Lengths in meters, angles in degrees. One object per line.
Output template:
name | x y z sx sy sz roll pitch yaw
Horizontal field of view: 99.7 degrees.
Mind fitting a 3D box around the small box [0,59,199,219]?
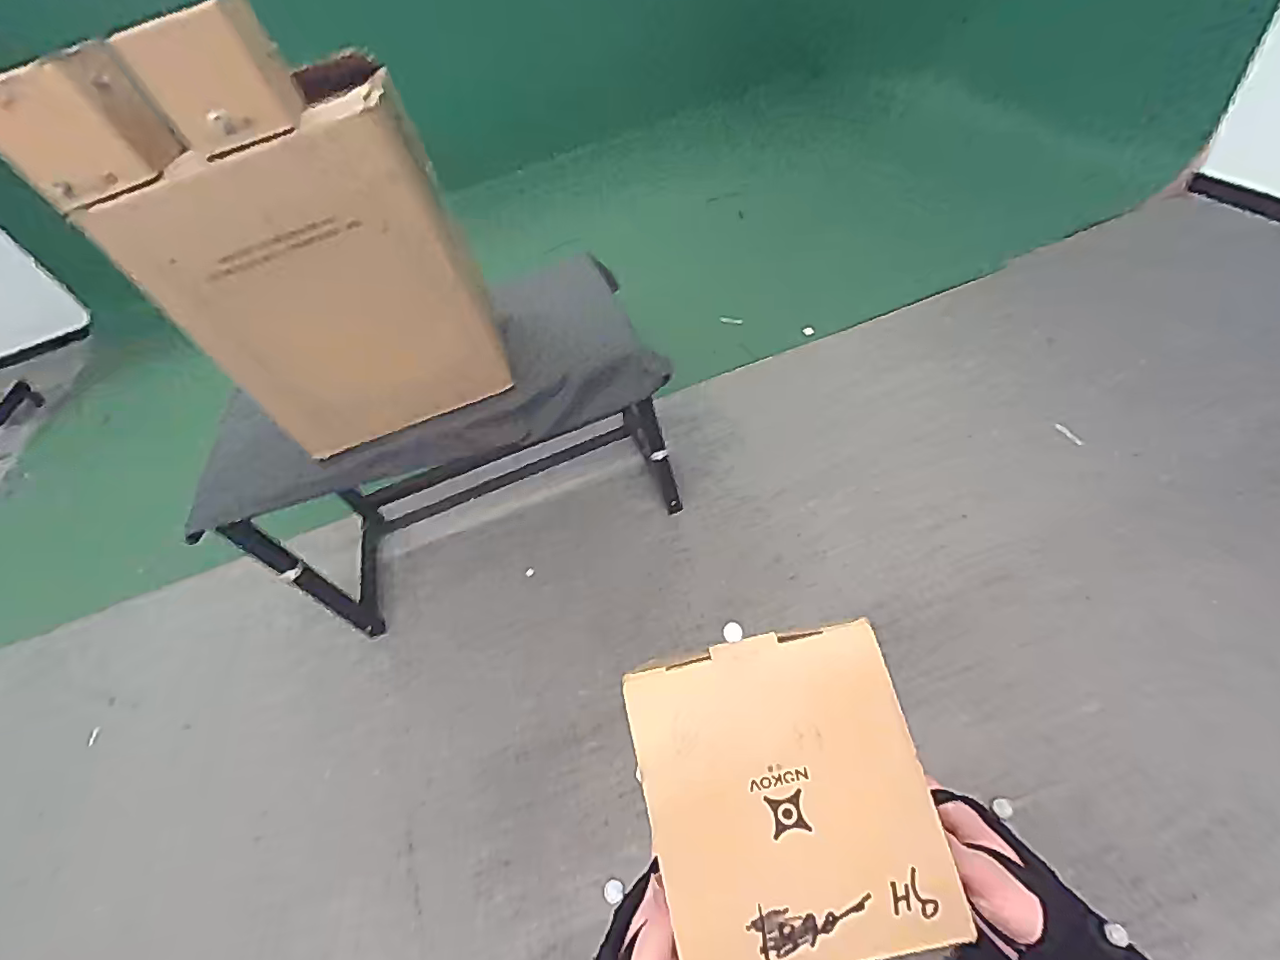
small box | -0.905 -0.570 0.916 0.168 0.176 0.179 -20 47 1

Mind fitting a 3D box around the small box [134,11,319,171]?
small box | -0.682 -0.658 0.920 0.168 0.176 0.179 -21 49 0

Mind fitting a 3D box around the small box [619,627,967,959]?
small box | 0.090 0.217 0.398 0.168 0.176 0.179 -15 72 3
